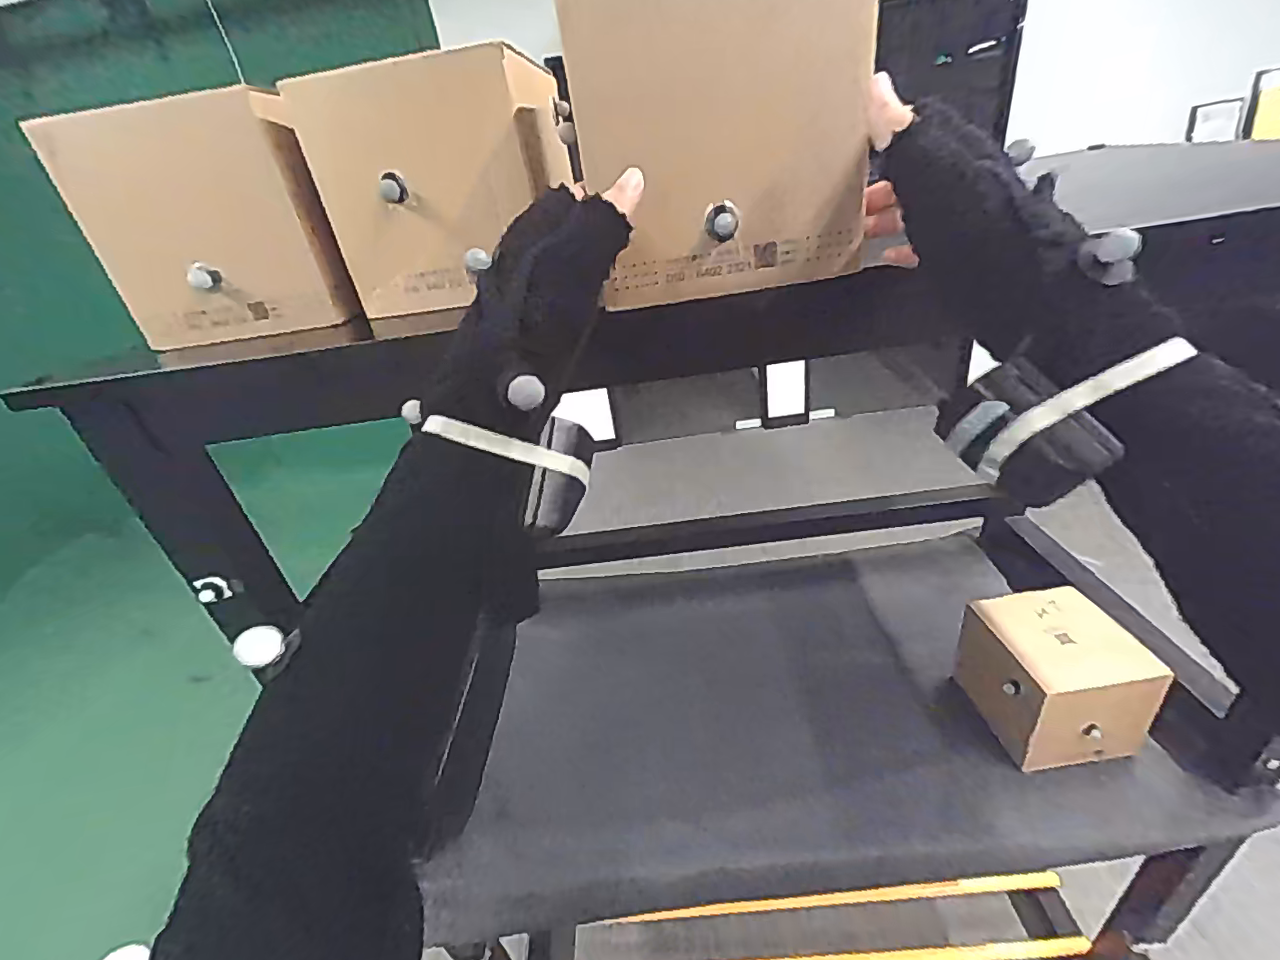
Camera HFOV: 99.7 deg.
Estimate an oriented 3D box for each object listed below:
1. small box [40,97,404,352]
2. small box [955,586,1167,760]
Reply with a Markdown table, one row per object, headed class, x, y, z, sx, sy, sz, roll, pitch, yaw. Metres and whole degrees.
| class | x | y | z | sx | sy | sz | roll | pitch | yaw |
| --- | --- | --- | --- | --- | --- | --- | --- | --- | --- |
| small box | -0.338 | -0.227 | 0.490 | 0.168 | 0.176 | 0.179 | -8 | 31 | 2 |
| small box | 0.601 | 0.288 | 0.801 | 0.168 | 0.176 | 0.179 | -9 | 29 | 0 |
